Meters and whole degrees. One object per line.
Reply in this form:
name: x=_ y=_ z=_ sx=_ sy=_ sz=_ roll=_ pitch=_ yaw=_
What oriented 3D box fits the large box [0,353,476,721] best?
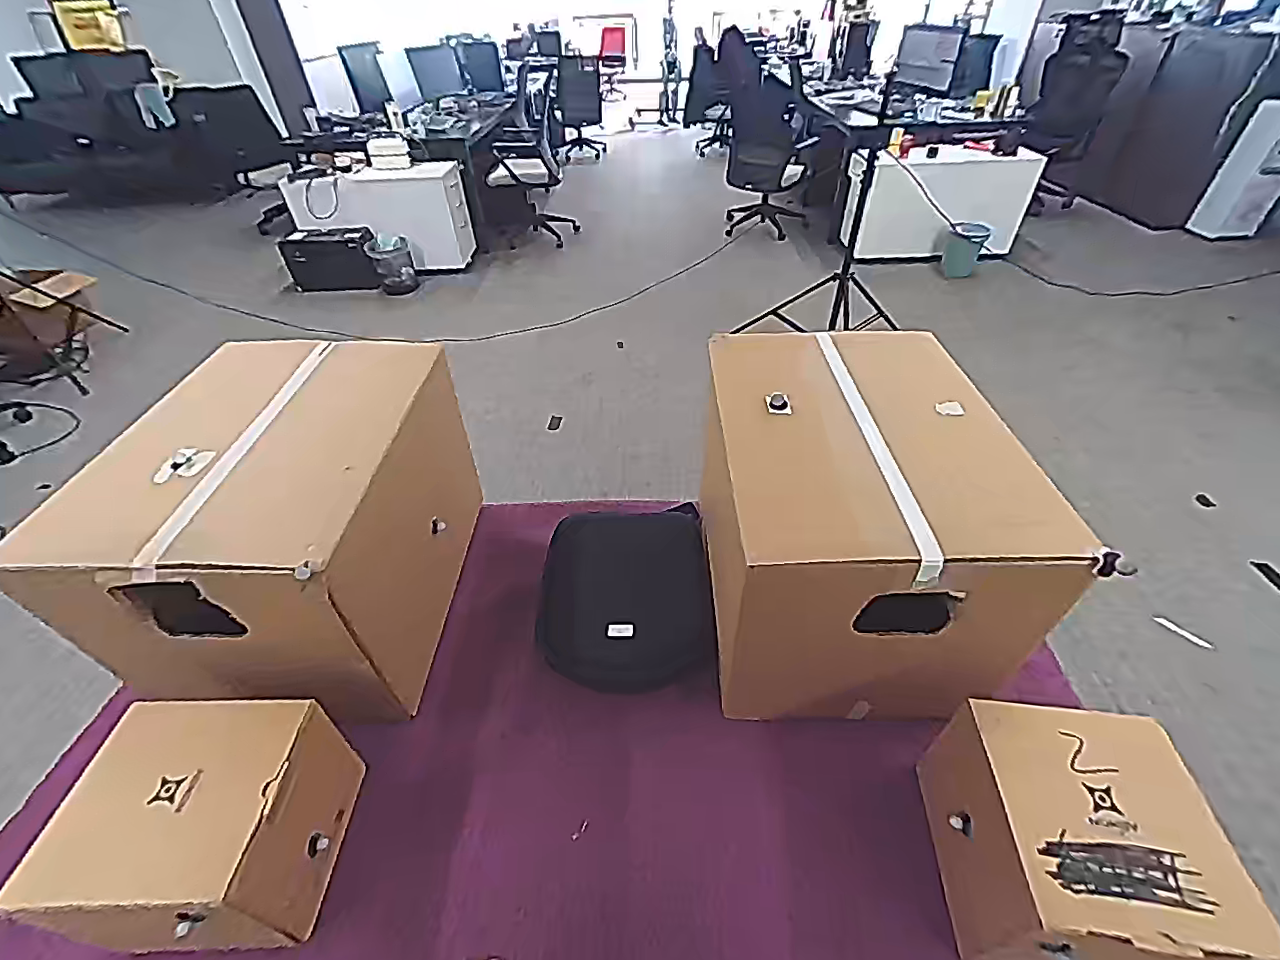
large box: x=-0.437 y=0.067 z=0.735 sx=0.320 sy=0.320 sz=0.408 roll=-1 pitch=44 yaw=0
